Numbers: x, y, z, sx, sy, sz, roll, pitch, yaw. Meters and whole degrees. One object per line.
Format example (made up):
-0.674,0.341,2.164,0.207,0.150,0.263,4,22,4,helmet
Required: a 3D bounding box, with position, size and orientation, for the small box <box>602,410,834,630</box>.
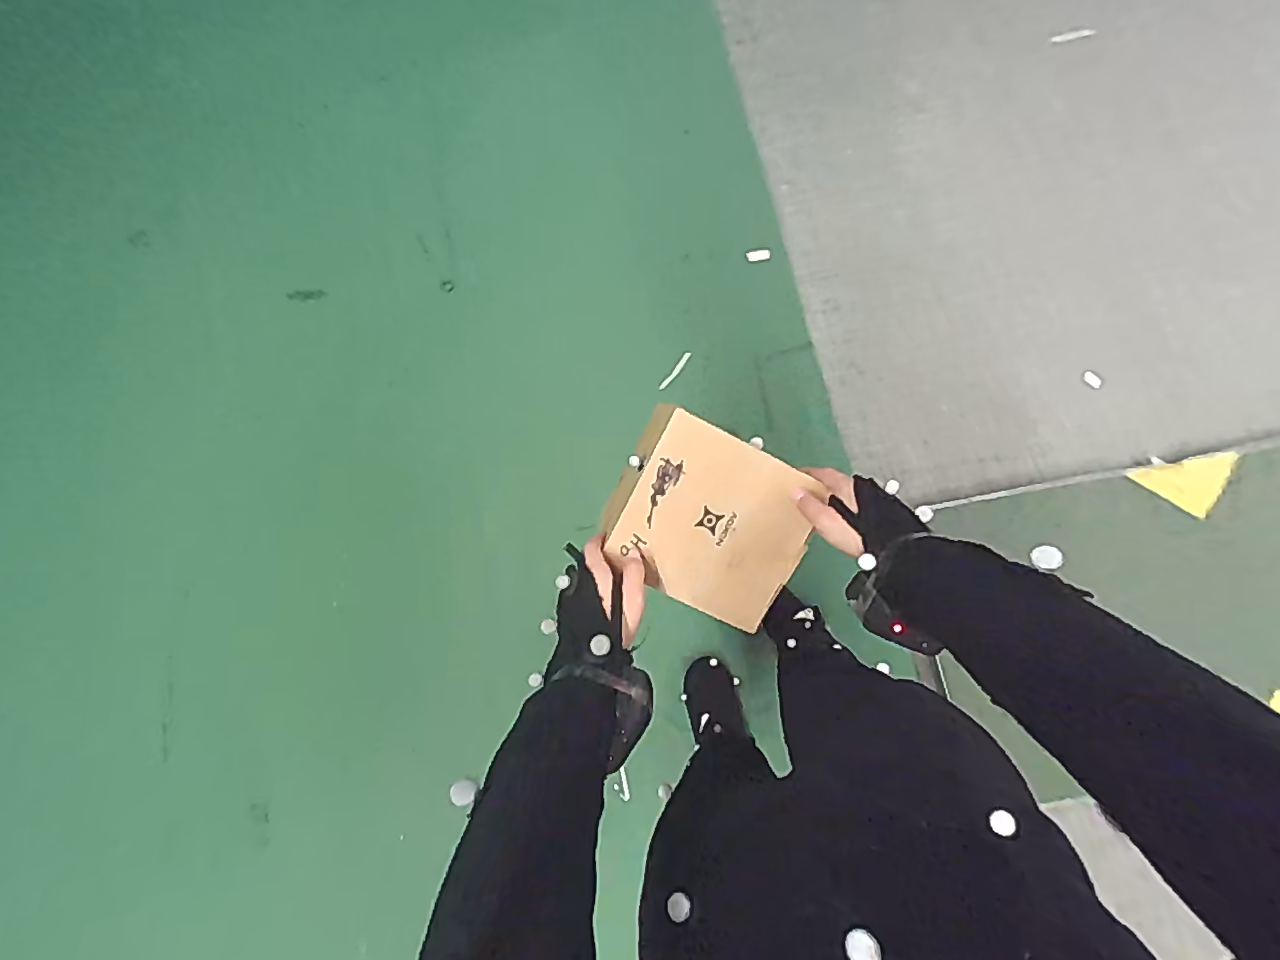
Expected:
0.072,0.029,0.600,0.179,0.176,0.168,28,96,-7,small box
